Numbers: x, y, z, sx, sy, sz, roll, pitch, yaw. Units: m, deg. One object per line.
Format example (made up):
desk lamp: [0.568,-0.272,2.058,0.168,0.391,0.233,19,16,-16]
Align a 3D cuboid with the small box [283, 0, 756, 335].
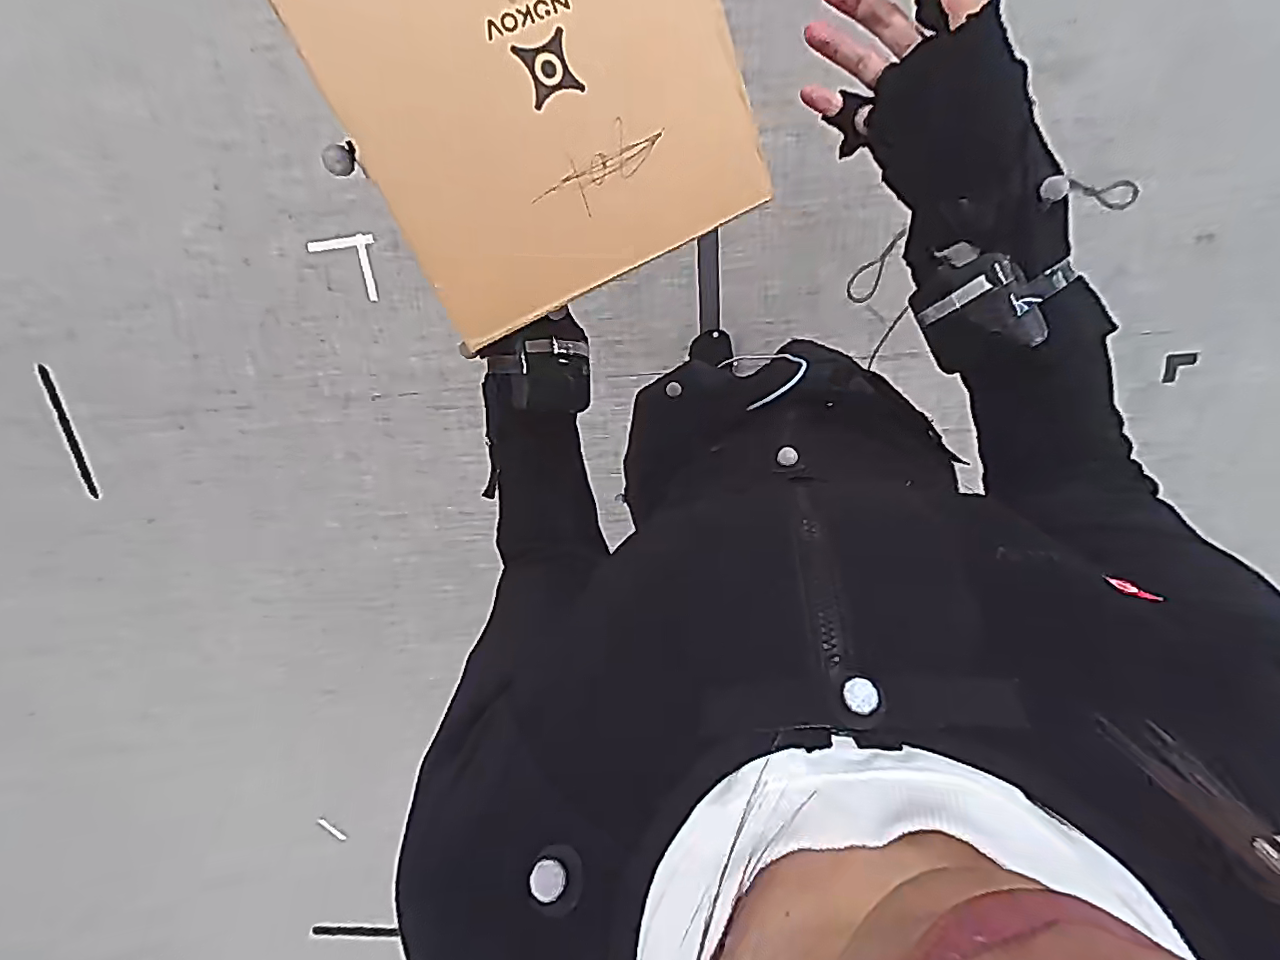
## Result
small box: [-0.069,-0.196,0.304,0.168,0.176,0.179,-29,114,-9]
